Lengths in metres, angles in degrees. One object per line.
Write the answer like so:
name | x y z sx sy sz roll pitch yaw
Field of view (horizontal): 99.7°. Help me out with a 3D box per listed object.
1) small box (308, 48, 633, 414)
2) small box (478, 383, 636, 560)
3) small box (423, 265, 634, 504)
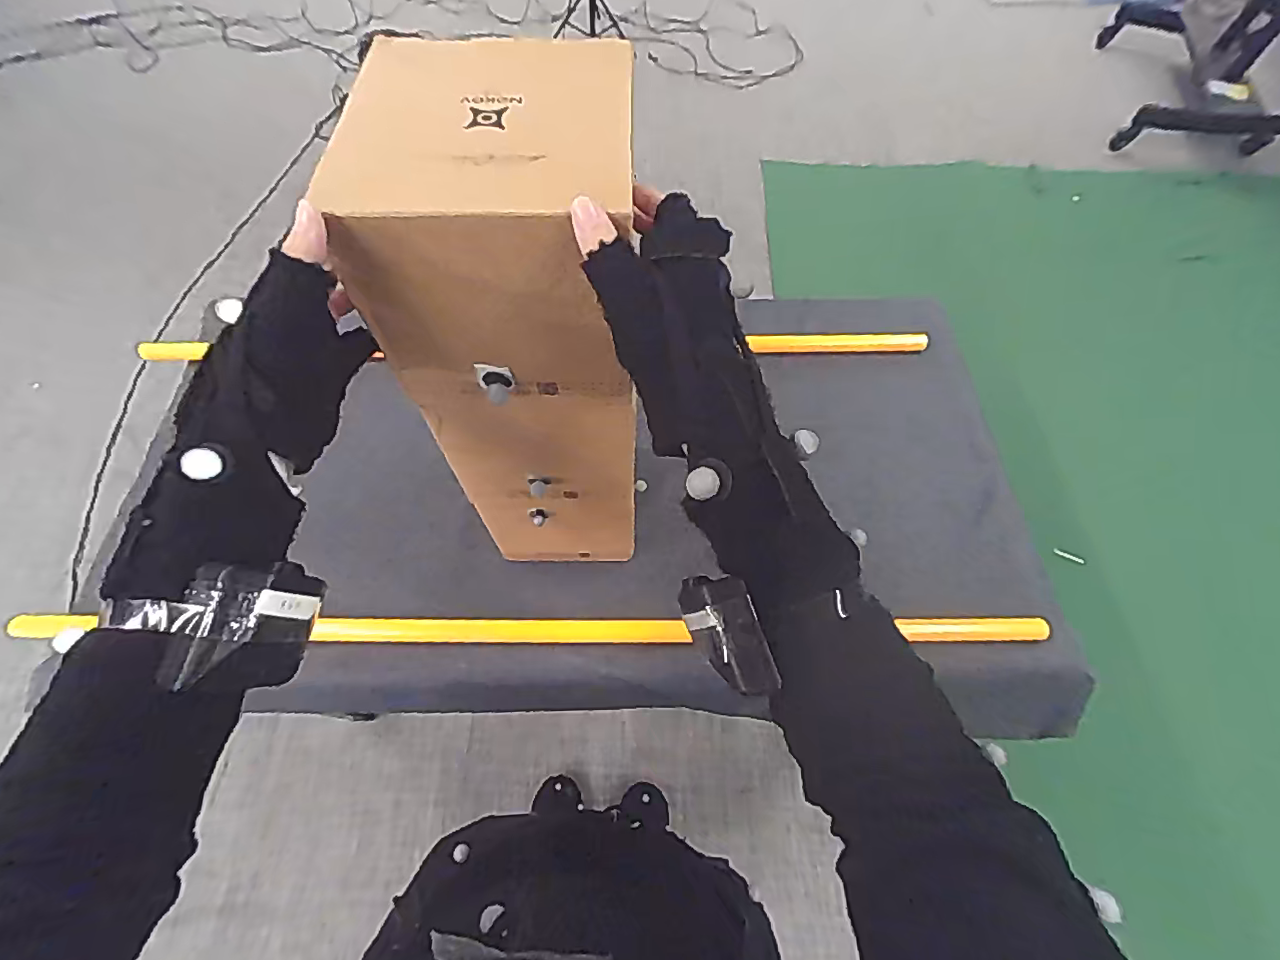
small box | -0.090 -0.167 0.385 0.168 0.176 0.179 0 62 0
small box | -0.090 -0.013 0.673 0.168 0.176 0.179 0 61 0
small box | -0.090 -0.091 0.529 0.168 0.176 0.179 0 62 -1
